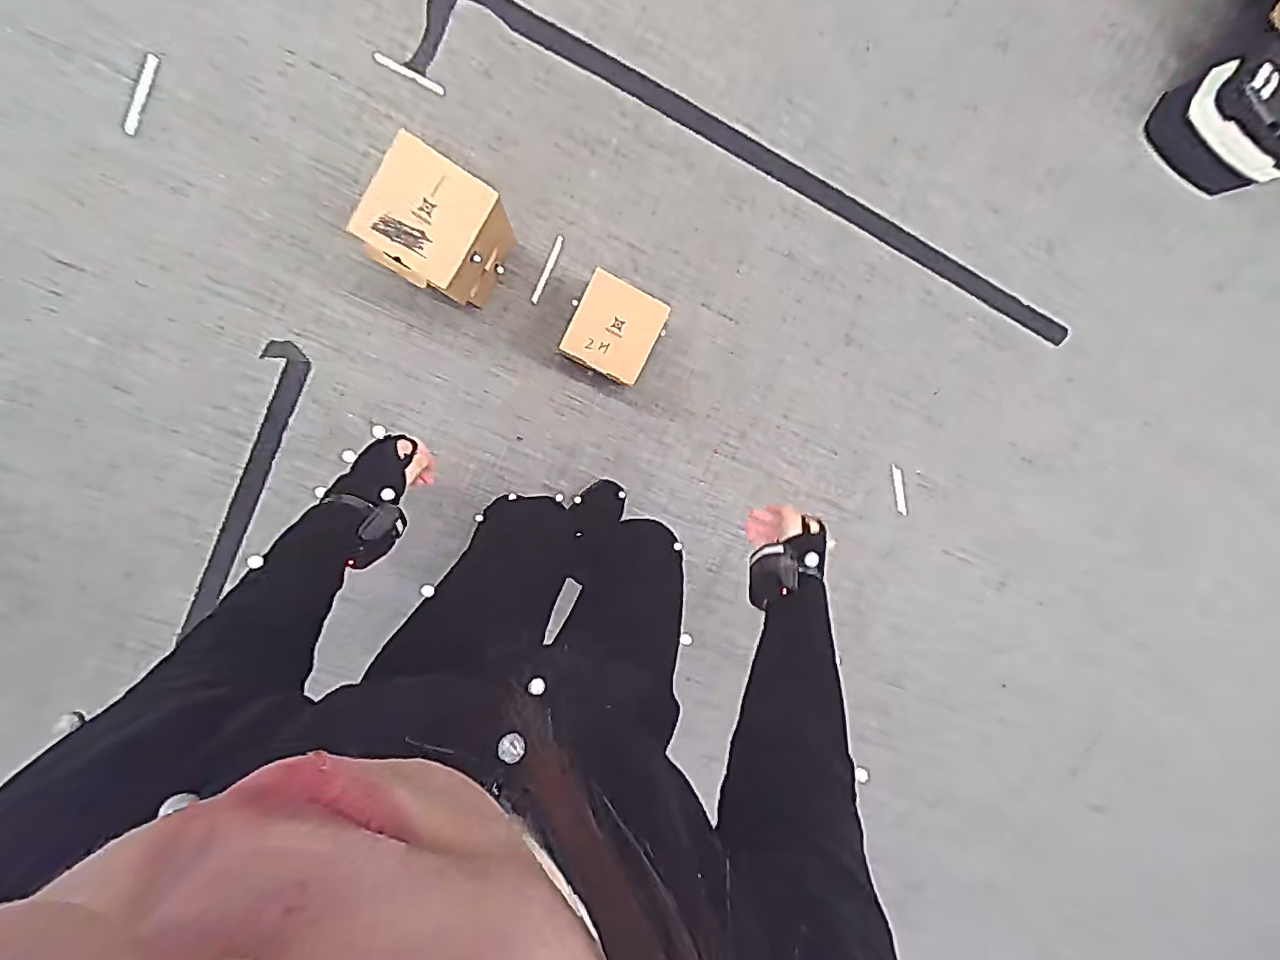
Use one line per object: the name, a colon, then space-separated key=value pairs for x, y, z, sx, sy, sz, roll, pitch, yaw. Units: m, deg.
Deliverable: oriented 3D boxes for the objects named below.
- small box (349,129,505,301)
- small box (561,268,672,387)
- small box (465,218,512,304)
small box: x=-0.339 y=-0.422 z=0.901 sx=0.168 sy=0.176 sz=0.179 roll=31 pitch=95 yaw=-13
small box: x=-0.057 y=-0.311 z=1.133 sx=0.168 sy=0.176 sz=0.179 roll=26 pitch=96 yaw=-12
small box: x=-0.363 y=-0.461 z=1.060 sx=0.179 sy=0.176 sz=0.168 roll=26 pitch=96 yaw=-13
